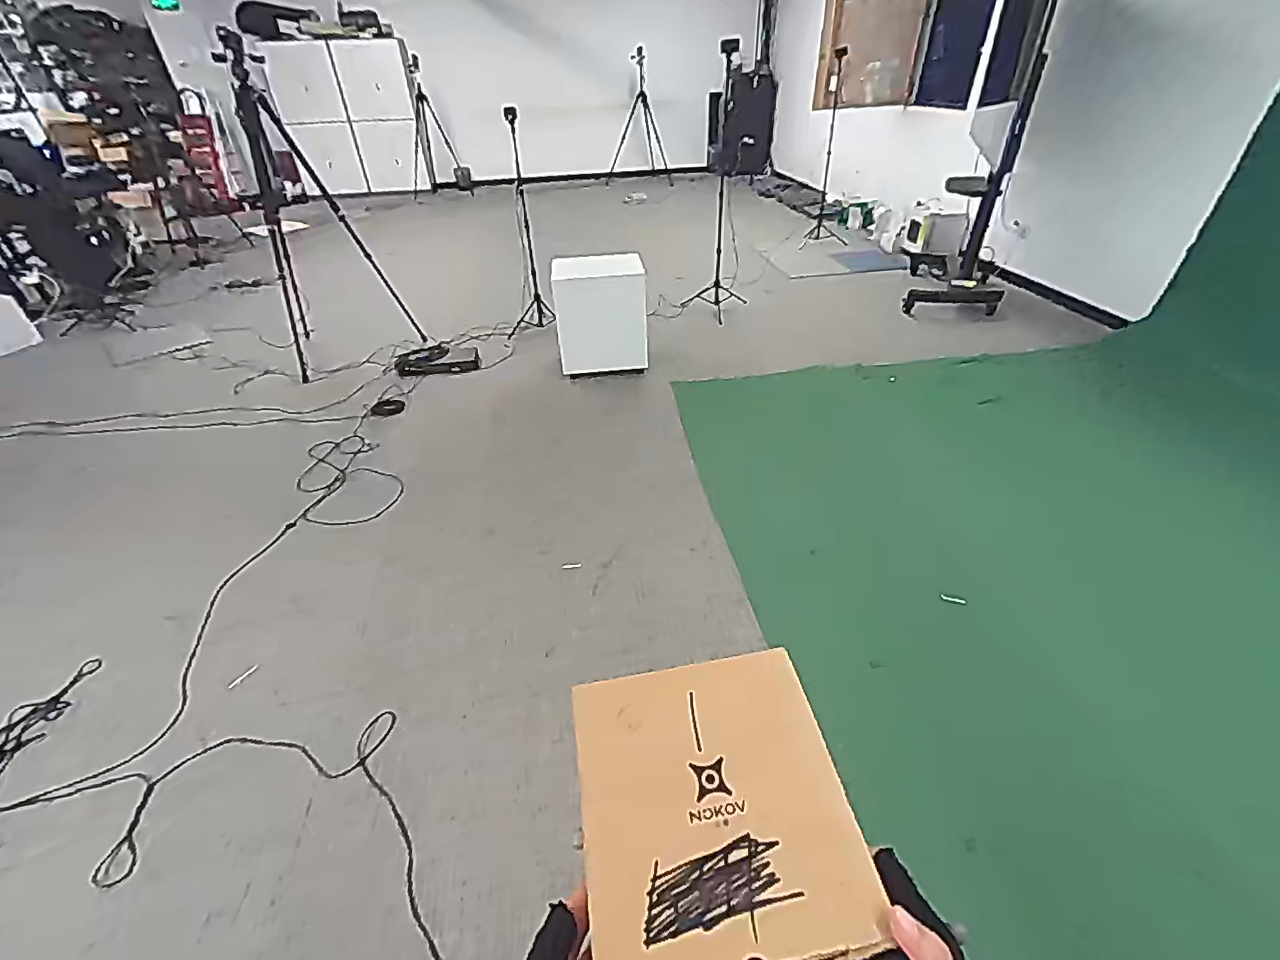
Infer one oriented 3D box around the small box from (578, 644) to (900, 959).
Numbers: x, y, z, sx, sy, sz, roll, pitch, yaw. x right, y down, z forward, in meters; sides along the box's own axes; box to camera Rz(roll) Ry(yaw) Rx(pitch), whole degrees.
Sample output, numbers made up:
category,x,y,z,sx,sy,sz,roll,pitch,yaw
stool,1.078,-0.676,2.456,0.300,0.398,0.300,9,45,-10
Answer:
category,x,y,z,sx,sy,sz,roll,pitch,yaw
small box,0.050,0.250,0.394,0.168,0.176,0.179,-8,43,-6
